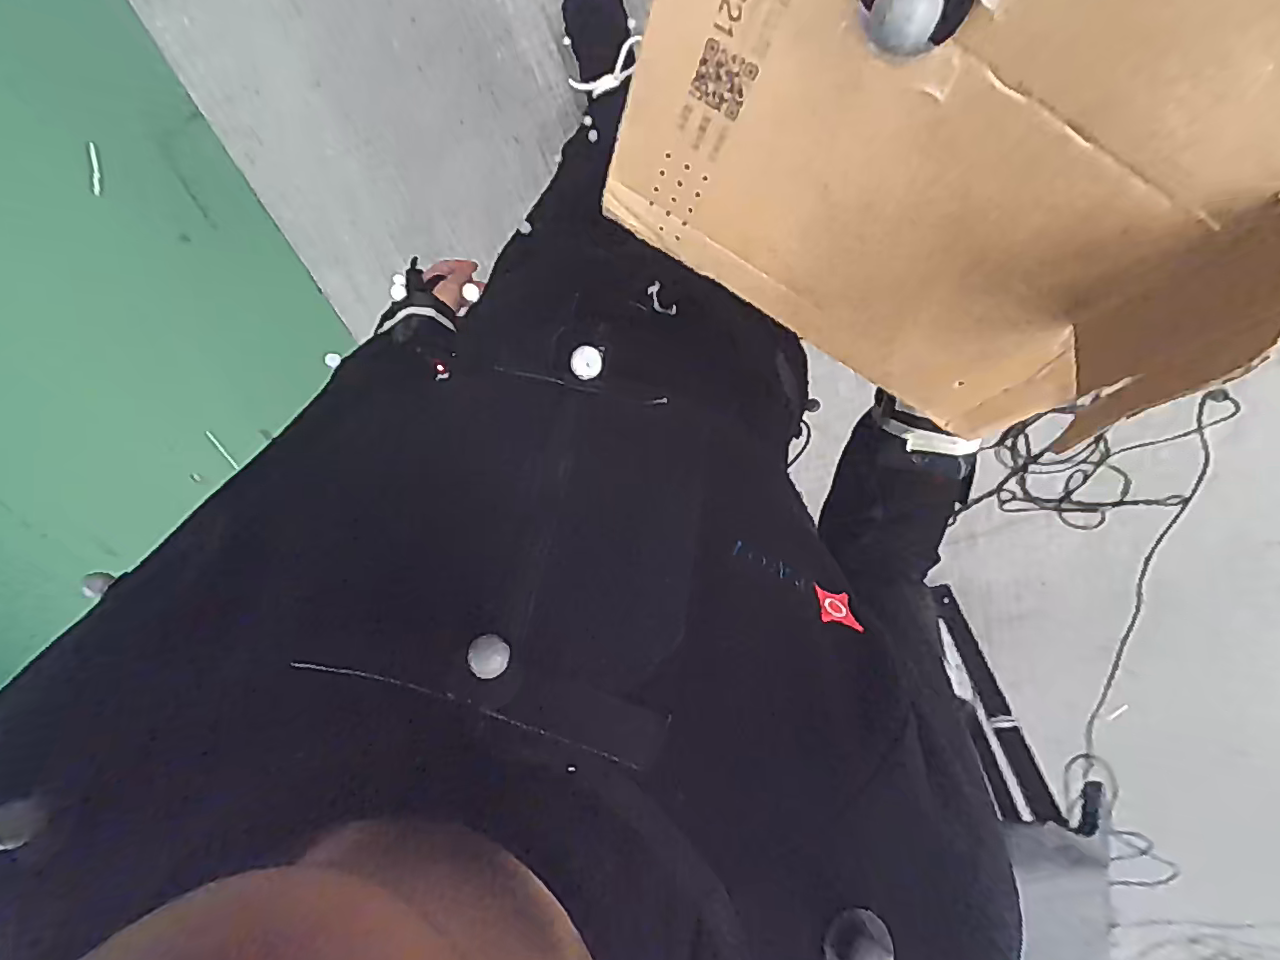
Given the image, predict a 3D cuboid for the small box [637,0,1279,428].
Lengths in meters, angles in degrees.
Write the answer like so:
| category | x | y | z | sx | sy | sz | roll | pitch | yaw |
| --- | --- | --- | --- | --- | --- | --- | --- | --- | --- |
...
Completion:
| category | x | y | z | sx | sy | sz | roll | pitch | yaw |
| --- | --- | --- | --- | --- | --- | --- | --- | --- | --- |
| small box | 0.125 | -0.152 | 0.155 | 0.176 | 0.179 | 0.168 | 32 | 157 | -6 |
